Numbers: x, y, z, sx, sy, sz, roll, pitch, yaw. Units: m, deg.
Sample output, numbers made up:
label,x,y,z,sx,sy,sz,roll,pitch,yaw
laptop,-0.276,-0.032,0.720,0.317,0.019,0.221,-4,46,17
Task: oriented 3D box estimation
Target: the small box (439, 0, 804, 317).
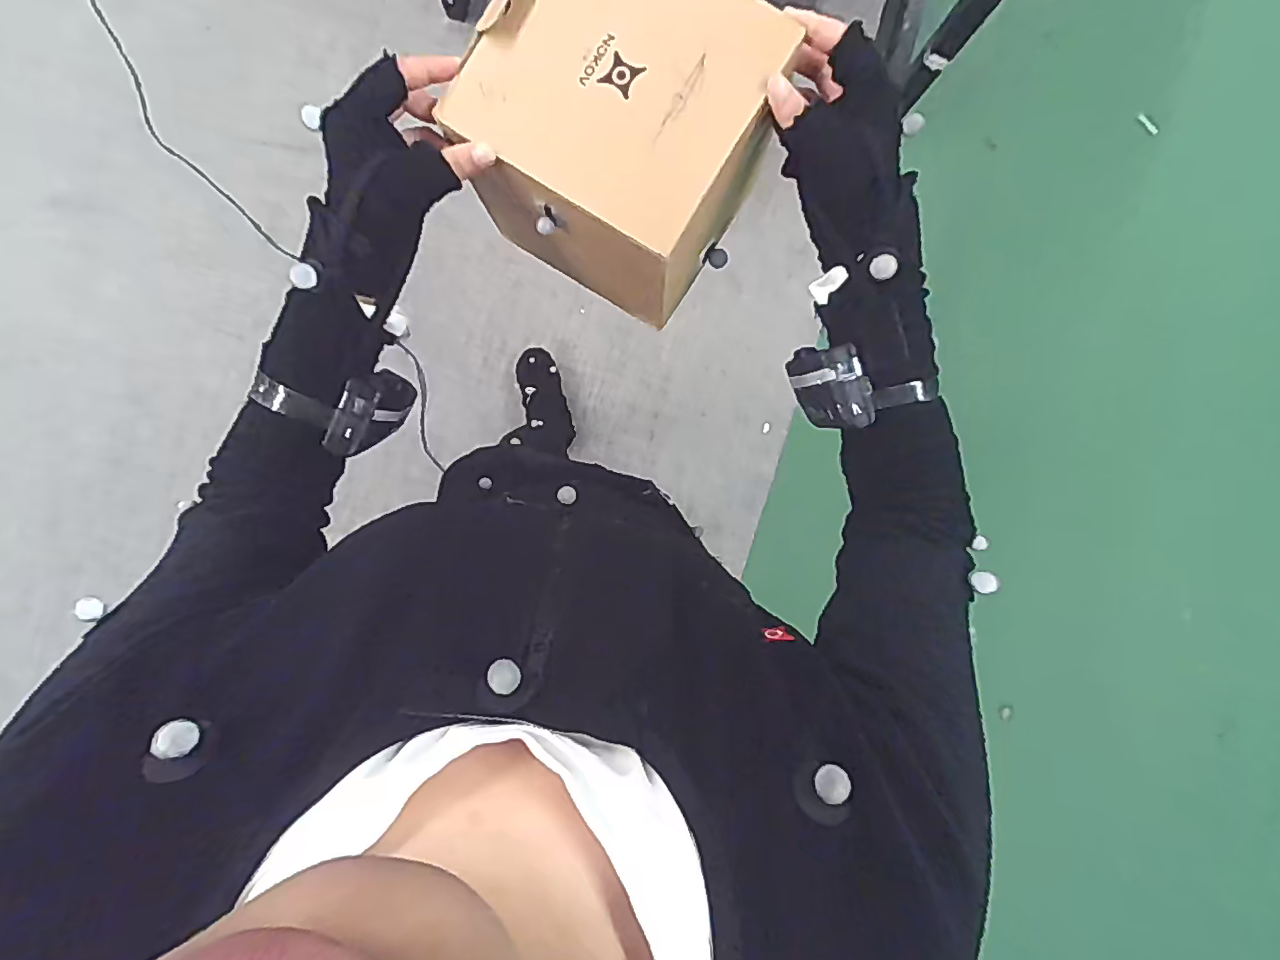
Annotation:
label,x,y,z,sx,sy,sz,roll,pitch,yaw
small box,-0.011,-0.252,0.416,0.179,0.176,0.168,31,91,1
